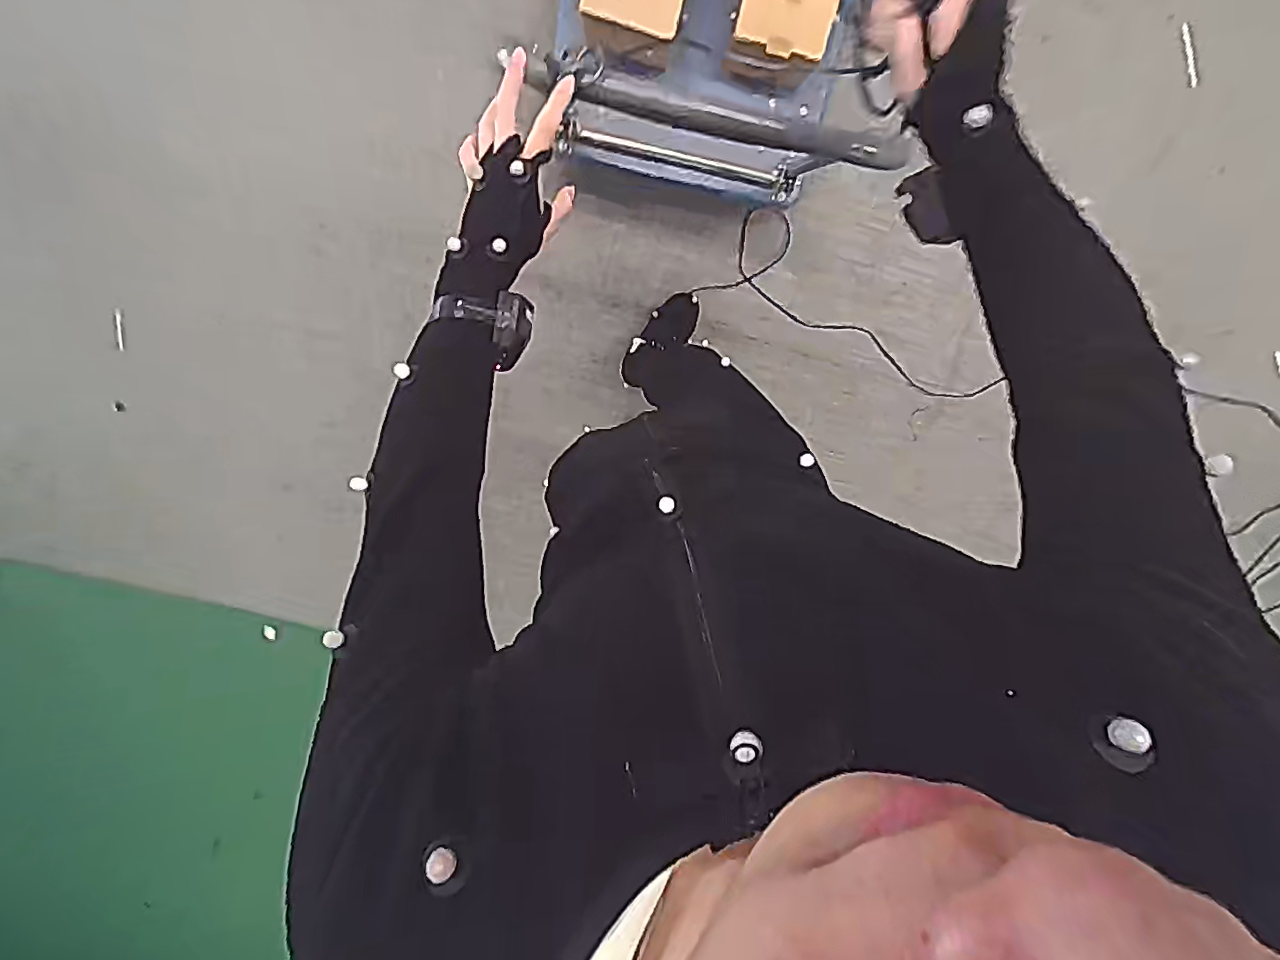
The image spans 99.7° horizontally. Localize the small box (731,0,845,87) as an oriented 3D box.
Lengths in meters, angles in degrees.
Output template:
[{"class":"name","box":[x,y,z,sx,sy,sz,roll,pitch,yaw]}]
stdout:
[{"class":"small box","box":[0.278,-0.878,1.010,0.168,0.176,0.179,12,112,-4]}]
